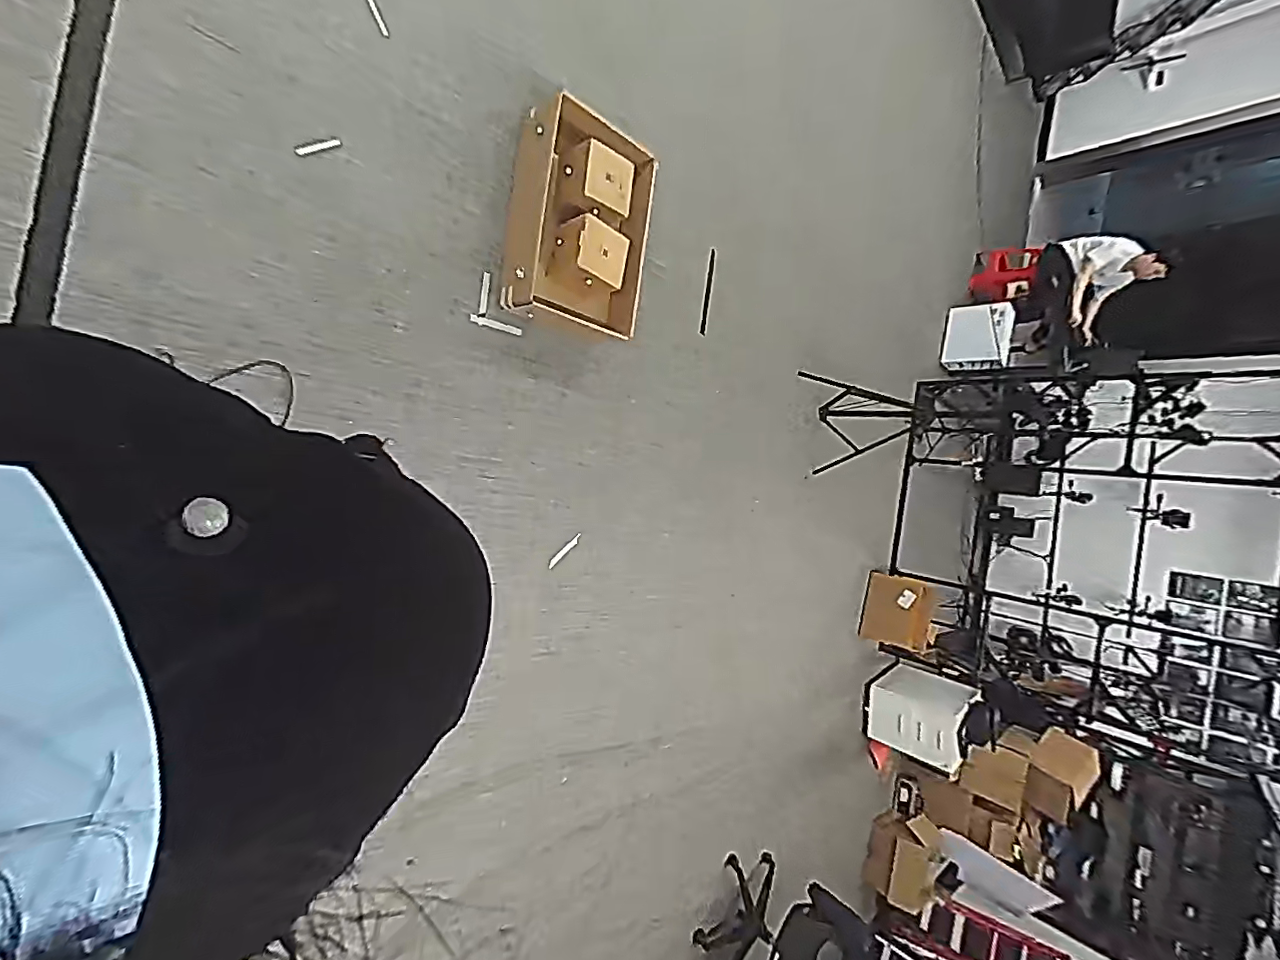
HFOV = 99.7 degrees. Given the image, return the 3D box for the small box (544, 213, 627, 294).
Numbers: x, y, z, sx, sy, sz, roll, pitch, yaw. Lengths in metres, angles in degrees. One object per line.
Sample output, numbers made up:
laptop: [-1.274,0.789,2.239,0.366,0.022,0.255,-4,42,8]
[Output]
small box: [-0.172,-0.700,1.700,0.179,0.176,0.168,15,84,-44]

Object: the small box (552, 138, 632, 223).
small box: [-0.153,-0.917,1.684,0.179,0.176,0.168,6,93,-44]
